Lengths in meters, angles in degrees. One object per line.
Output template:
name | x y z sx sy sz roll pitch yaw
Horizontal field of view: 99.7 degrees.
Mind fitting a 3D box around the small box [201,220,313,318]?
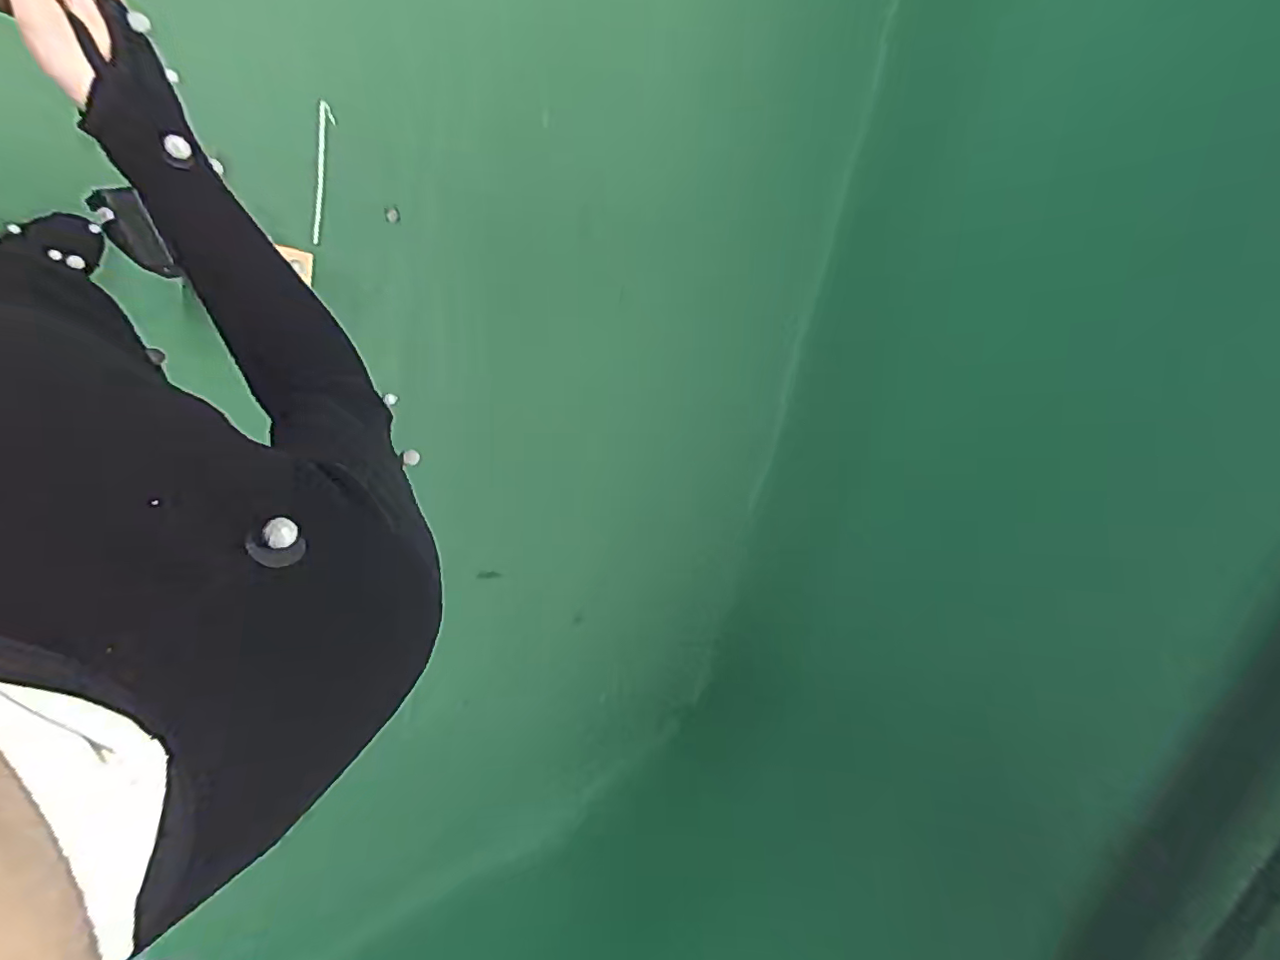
small box | -0.873 -0.481 1.230 0.179 0.176 0.168 -2 112 -46
